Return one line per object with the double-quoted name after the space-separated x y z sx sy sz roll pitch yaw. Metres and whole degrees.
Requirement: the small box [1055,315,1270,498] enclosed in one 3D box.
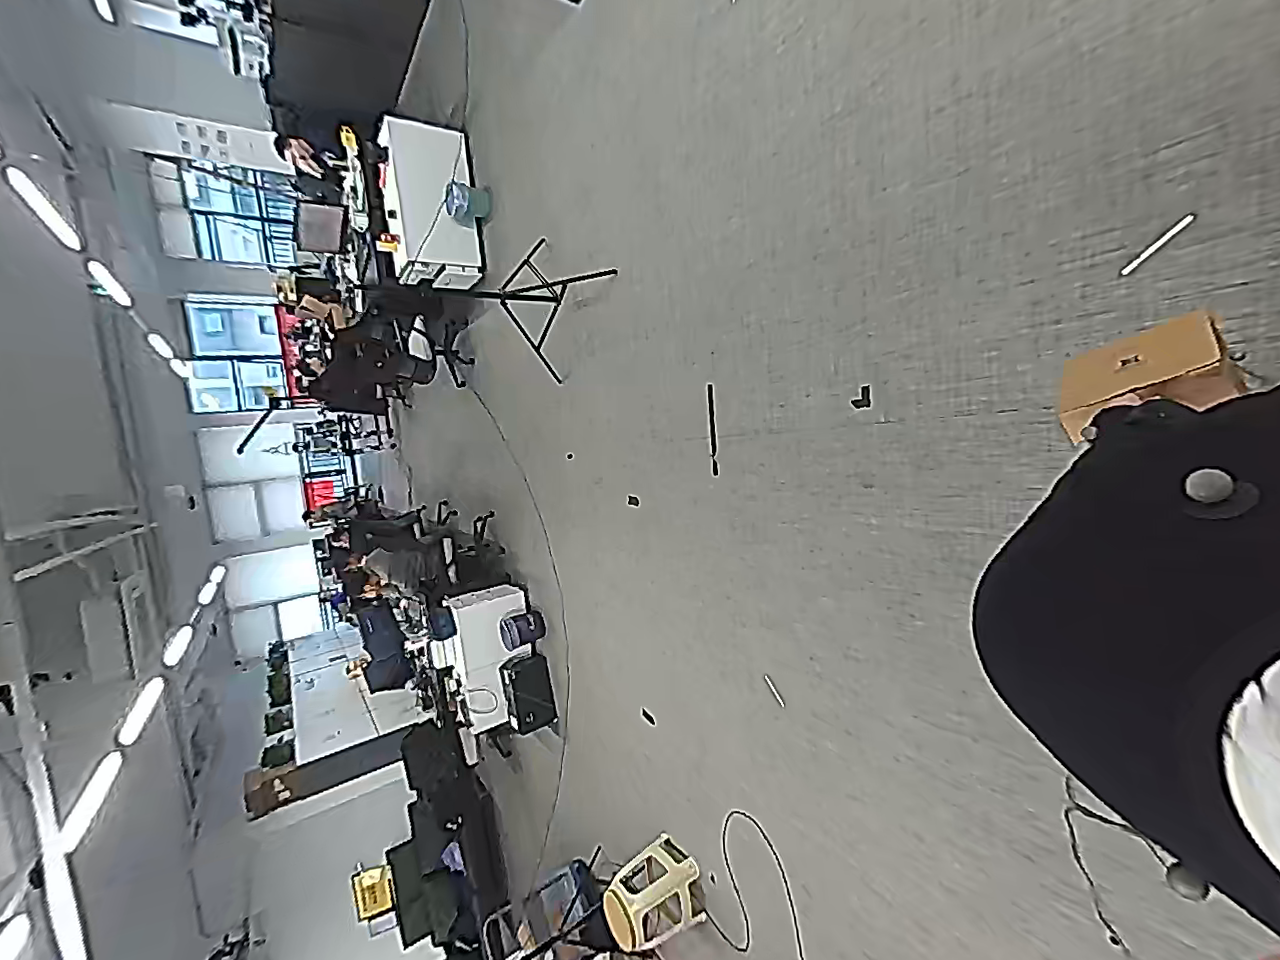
0.714 -0.091 0.750 0.168 0.179 0.176 -26 104 49 "small box"
